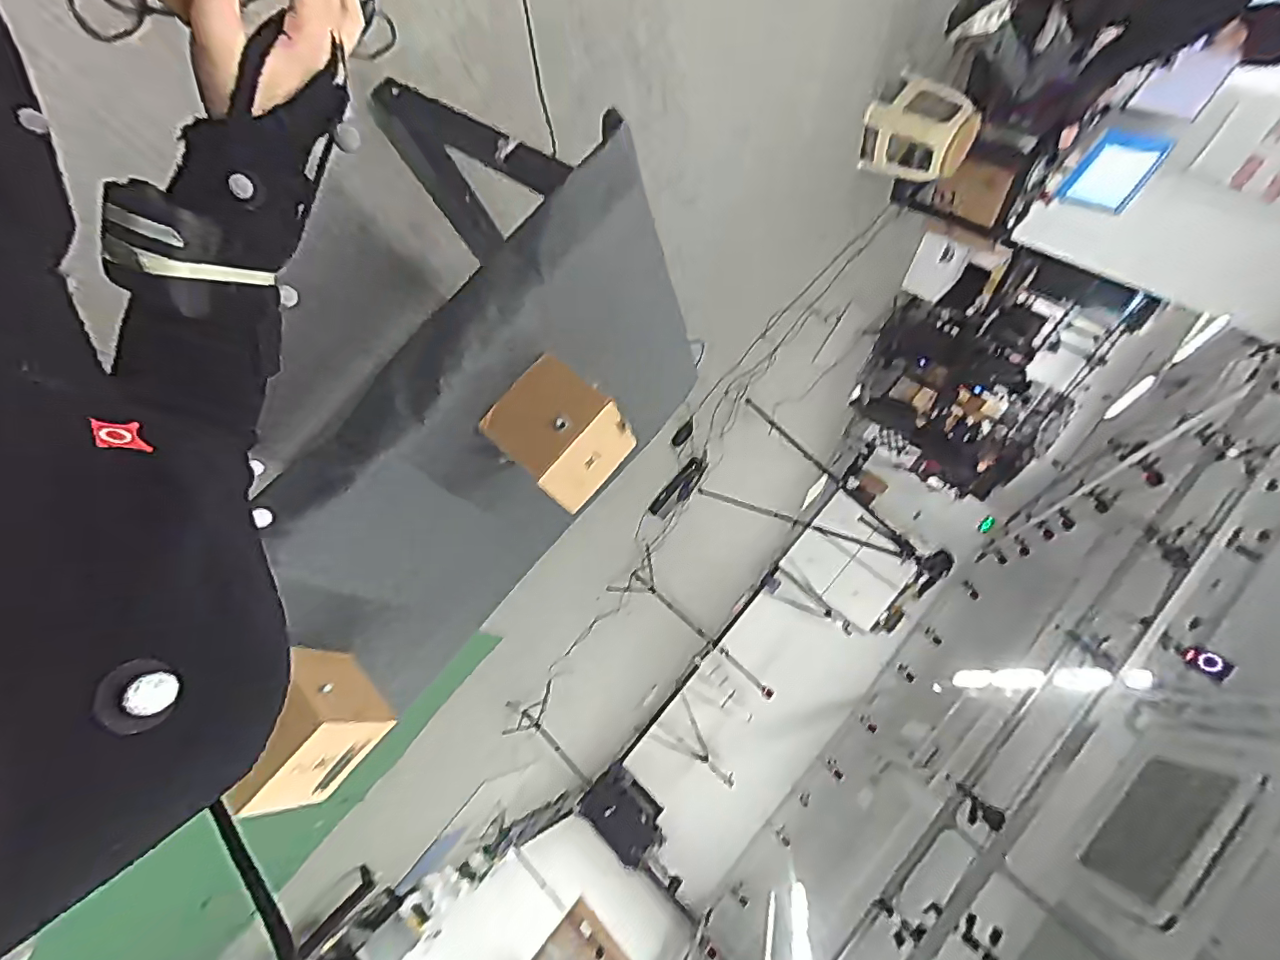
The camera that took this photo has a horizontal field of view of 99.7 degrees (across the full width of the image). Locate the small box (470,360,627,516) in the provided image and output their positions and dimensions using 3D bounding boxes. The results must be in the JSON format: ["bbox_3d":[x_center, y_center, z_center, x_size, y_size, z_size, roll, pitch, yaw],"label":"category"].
[{"bbox_3d":[-0.154,-0.072,0.932,0.179,0.176,0.168,-48,156,-7],"label":"small box"}]
